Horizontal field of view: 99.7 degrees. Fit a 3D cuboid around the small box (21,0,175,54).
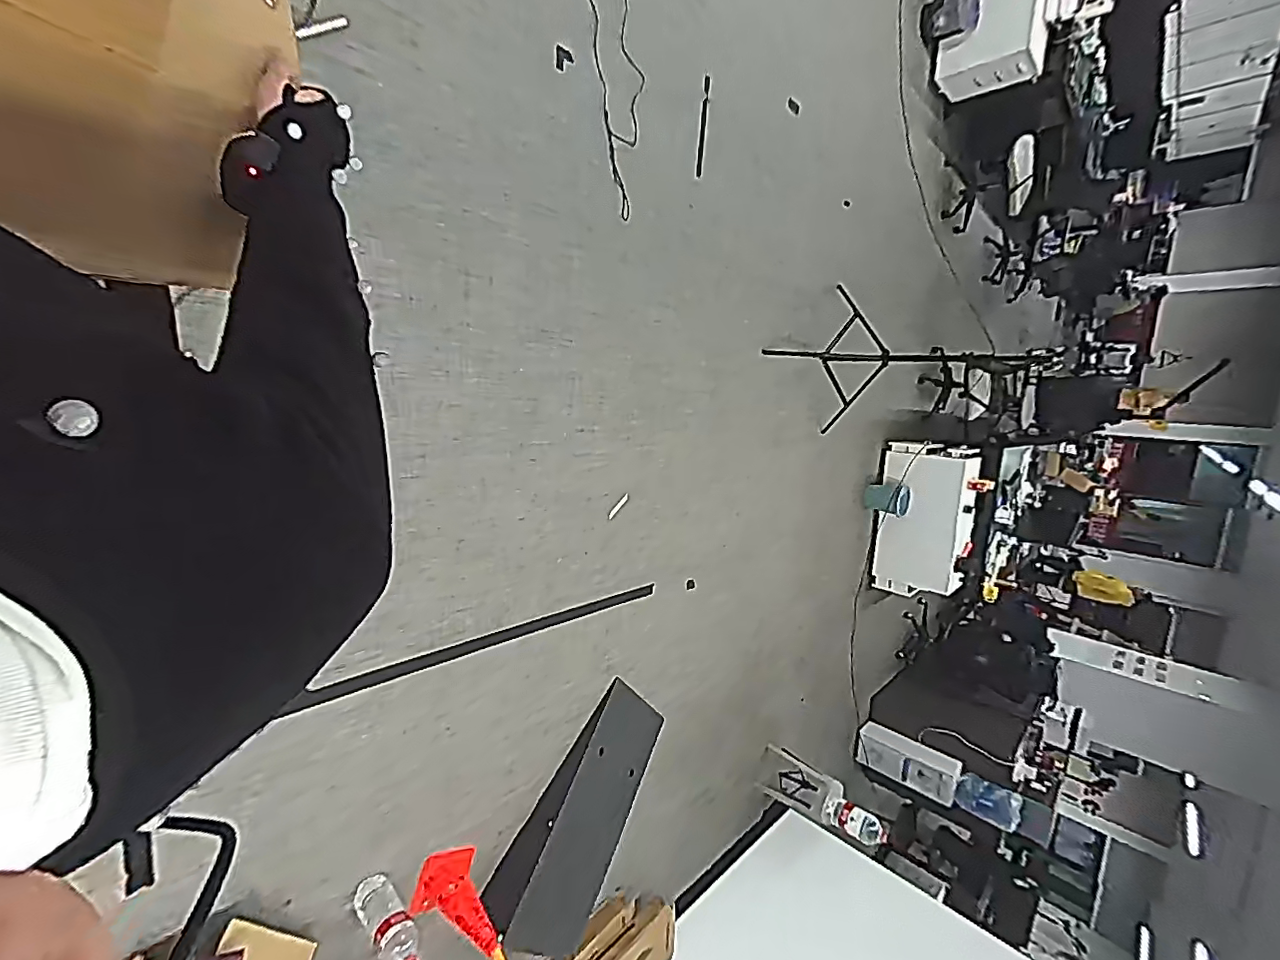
[{"bbox_3d":[-0.446,-0.470,0.392,0.179,0.176,0.168,4,86,-47],"label":"small box"}]
